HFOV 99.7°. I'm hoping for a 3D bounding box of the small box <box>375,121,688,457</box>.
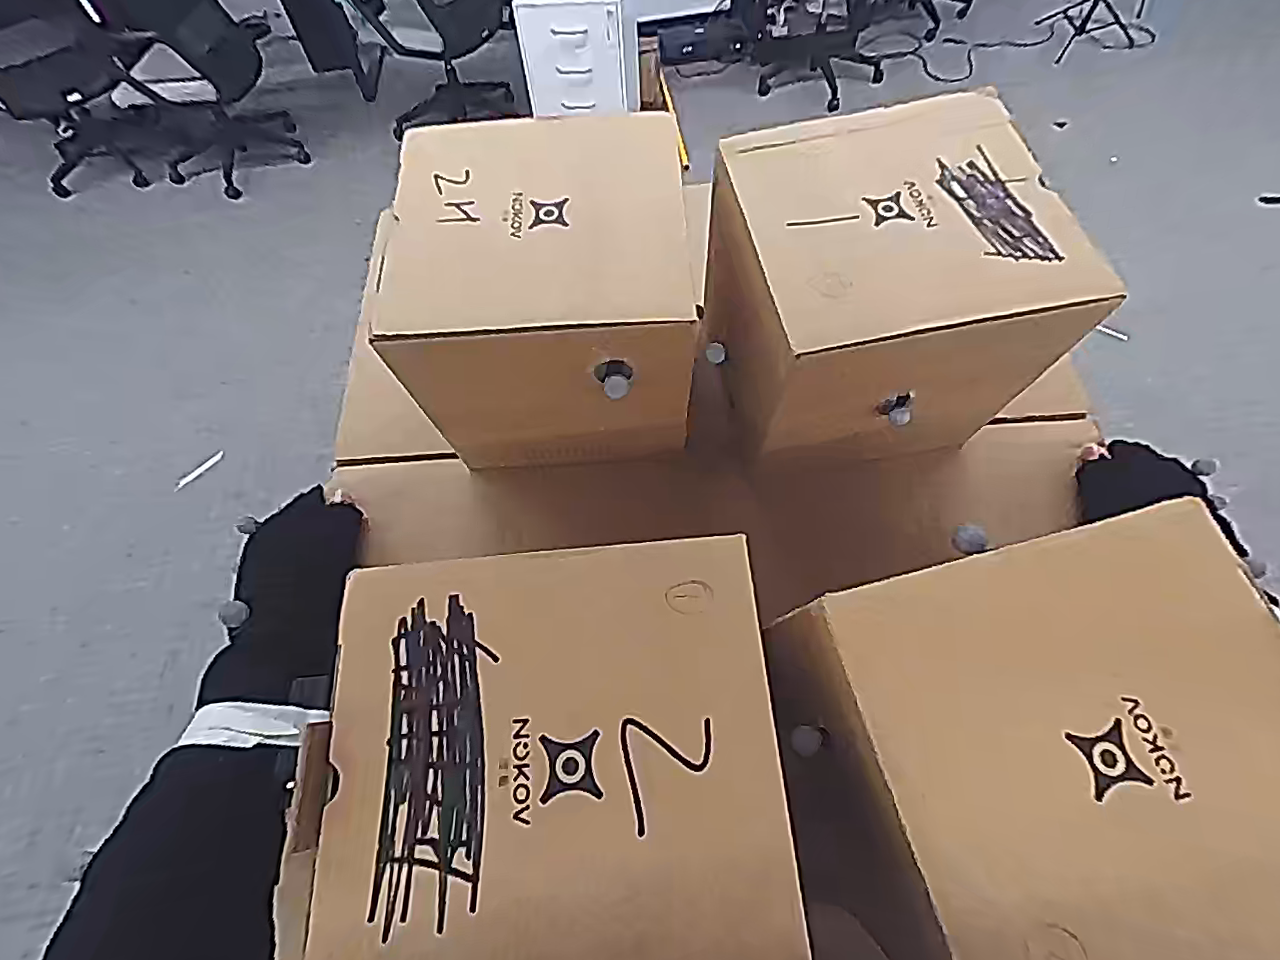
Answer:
[{"bbox_3d":[-0.059,-0.126,0.401,0.179,0.176,0.168,-3,66,2],"label":"small box"}]
